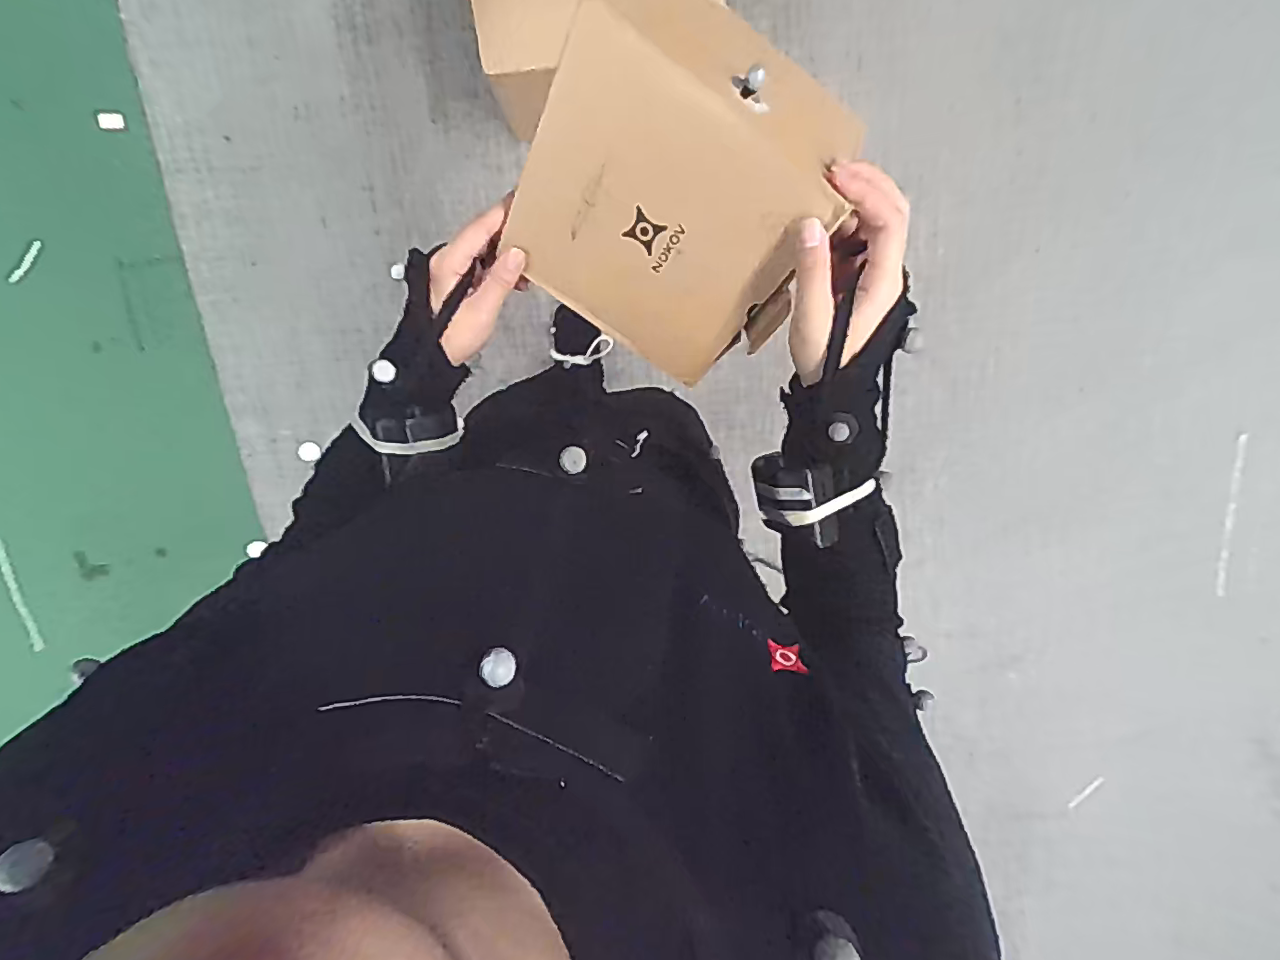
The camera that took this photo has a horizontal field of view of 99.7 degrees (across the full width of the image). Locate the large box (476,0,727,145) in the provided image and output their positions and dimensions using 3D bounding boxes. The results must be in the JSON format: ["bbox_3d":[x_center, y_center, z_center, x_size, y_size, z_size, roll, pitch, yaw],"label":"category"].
[{"bbox_3d":[-0.082,-0.863,0.997,0.408,0.320,0.320,-8,105,-2],"label":"large box"}]
